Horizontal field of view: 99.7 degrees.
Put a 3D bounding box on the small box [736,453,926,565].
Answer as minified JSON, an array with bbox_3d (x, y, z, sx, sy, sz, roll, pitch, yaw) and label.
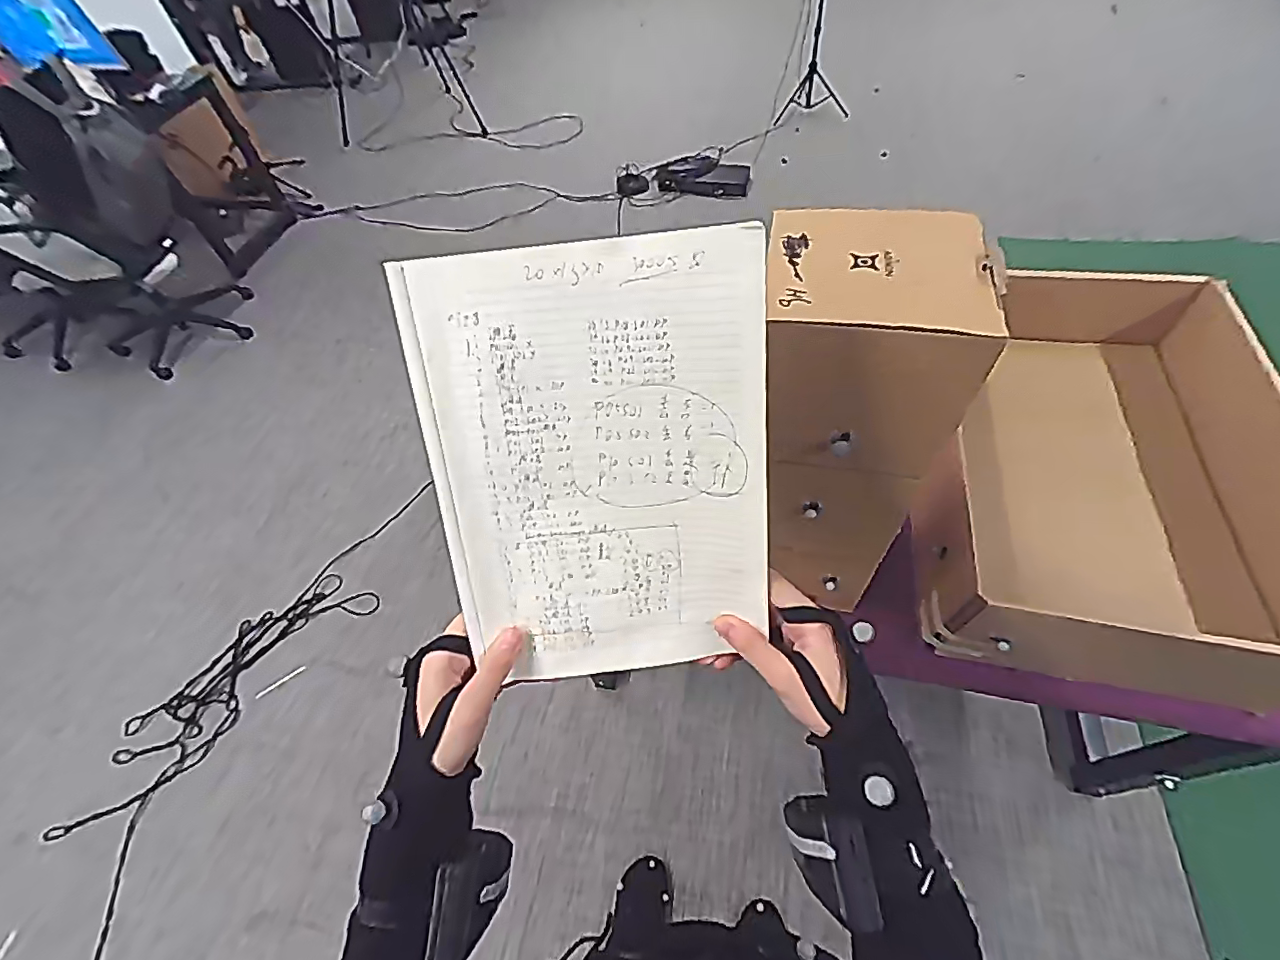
[{"bbox_3d":[0.214,-0.017,0.635,0.179,0.176,0.168,8,54,14],"label":"small box"}]

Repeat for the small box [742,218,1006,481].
[{"bbox_3d":[0.198,-0.117,0.504,0.179,0.176,0.168,8,53,11],"label":"small box"}]
